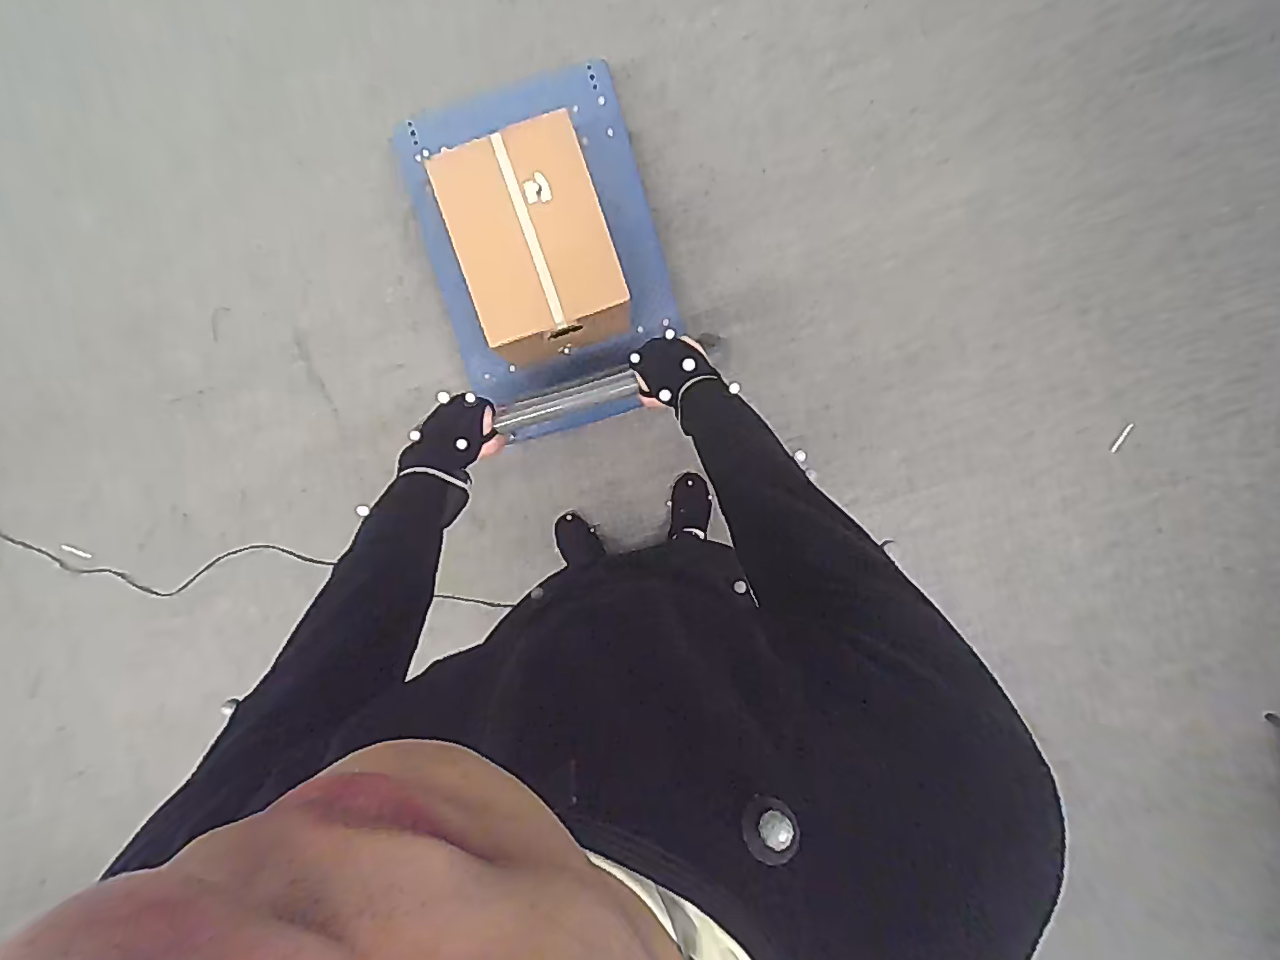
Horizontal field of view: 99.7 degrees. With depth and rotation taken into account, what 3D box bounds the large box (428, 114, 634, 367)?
[{"bbox_3d":[-0.226,-0.523,1.268,0.320,0.320,0.408,-19,94,1],"label":"large box"}]
